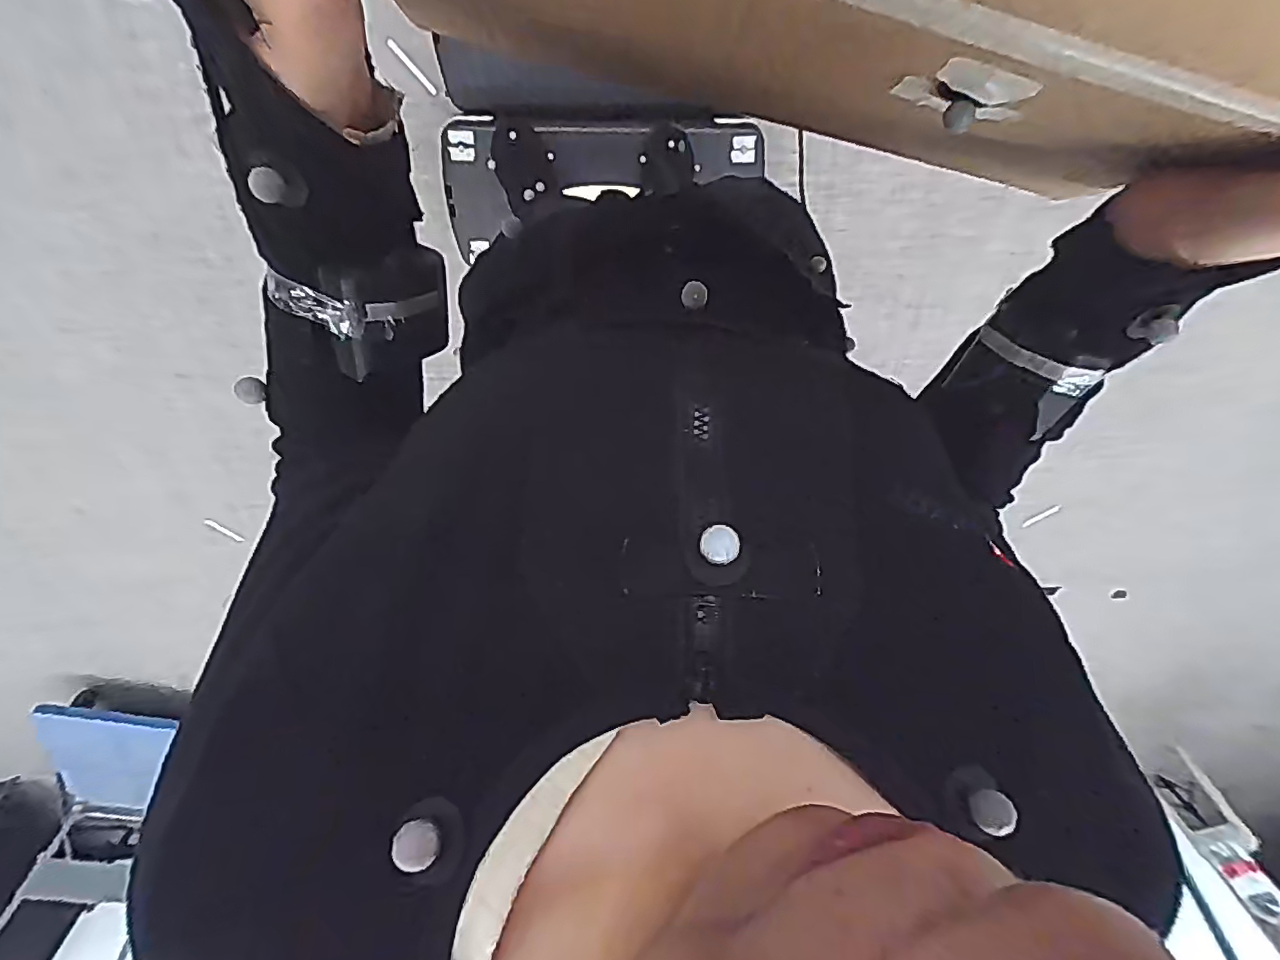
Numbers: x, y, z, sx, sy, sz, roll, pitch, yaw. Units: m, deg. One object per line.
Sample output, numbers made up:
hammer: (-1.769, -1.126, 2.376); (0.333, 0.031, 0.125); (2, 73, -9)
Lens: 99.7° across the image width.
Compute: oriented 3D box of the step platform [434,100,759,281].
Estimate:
step platform: (-0.089, -0.628, 1.191); (0.684, 0.204, 0.286); (4, 126, -4)
